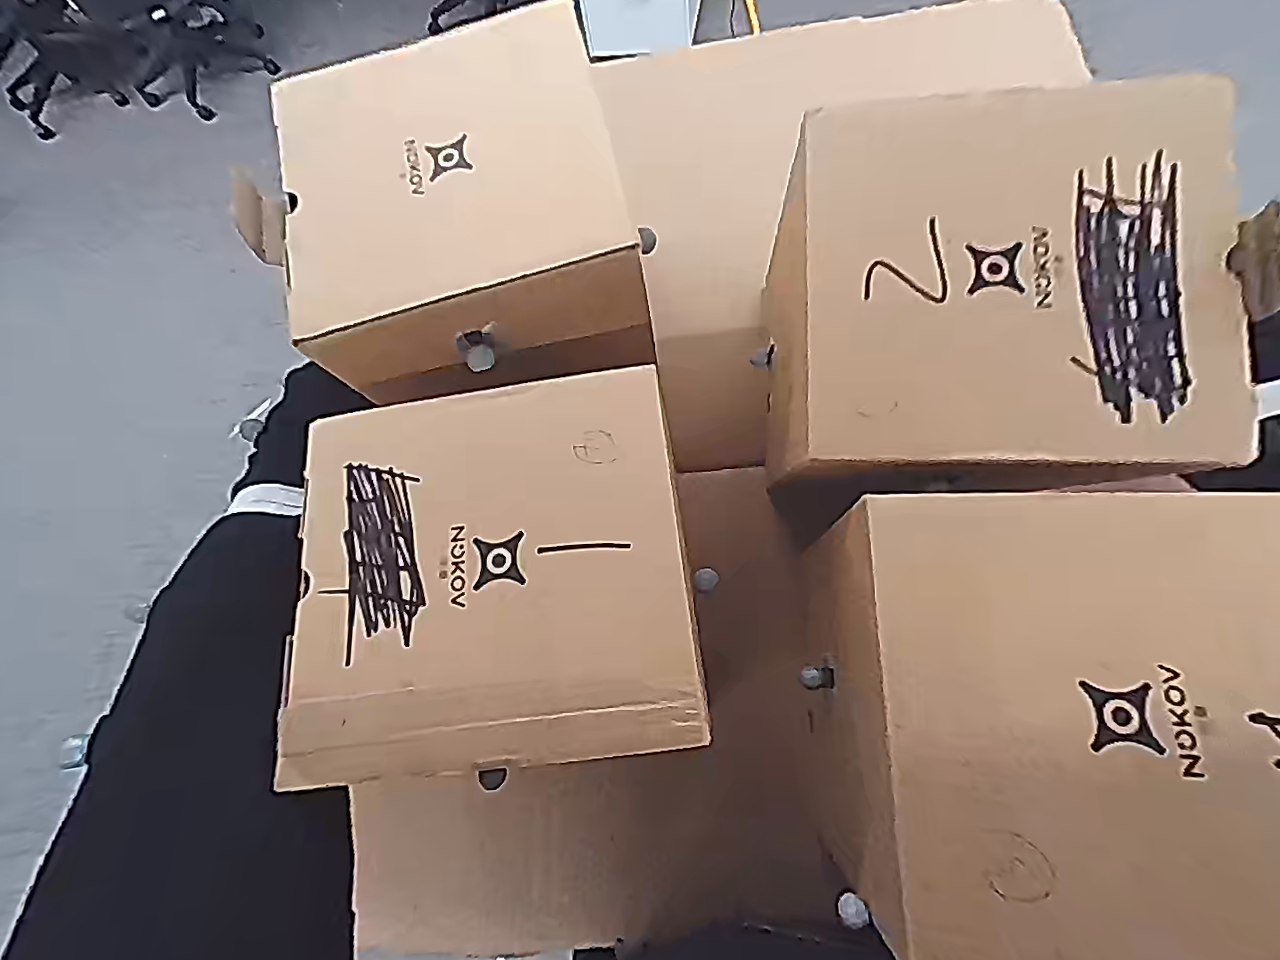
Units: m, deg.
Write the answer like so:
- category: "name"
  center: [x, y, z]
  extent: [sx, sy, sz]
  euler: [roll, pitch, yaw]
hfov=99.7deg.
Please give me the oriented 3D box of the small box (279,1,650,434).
- category: "small box"
  center: [-0.095, -0.149, 0.362]
  extent: [0.179, 0.176, 0.168]
  euler: [-16, 74, 4]
